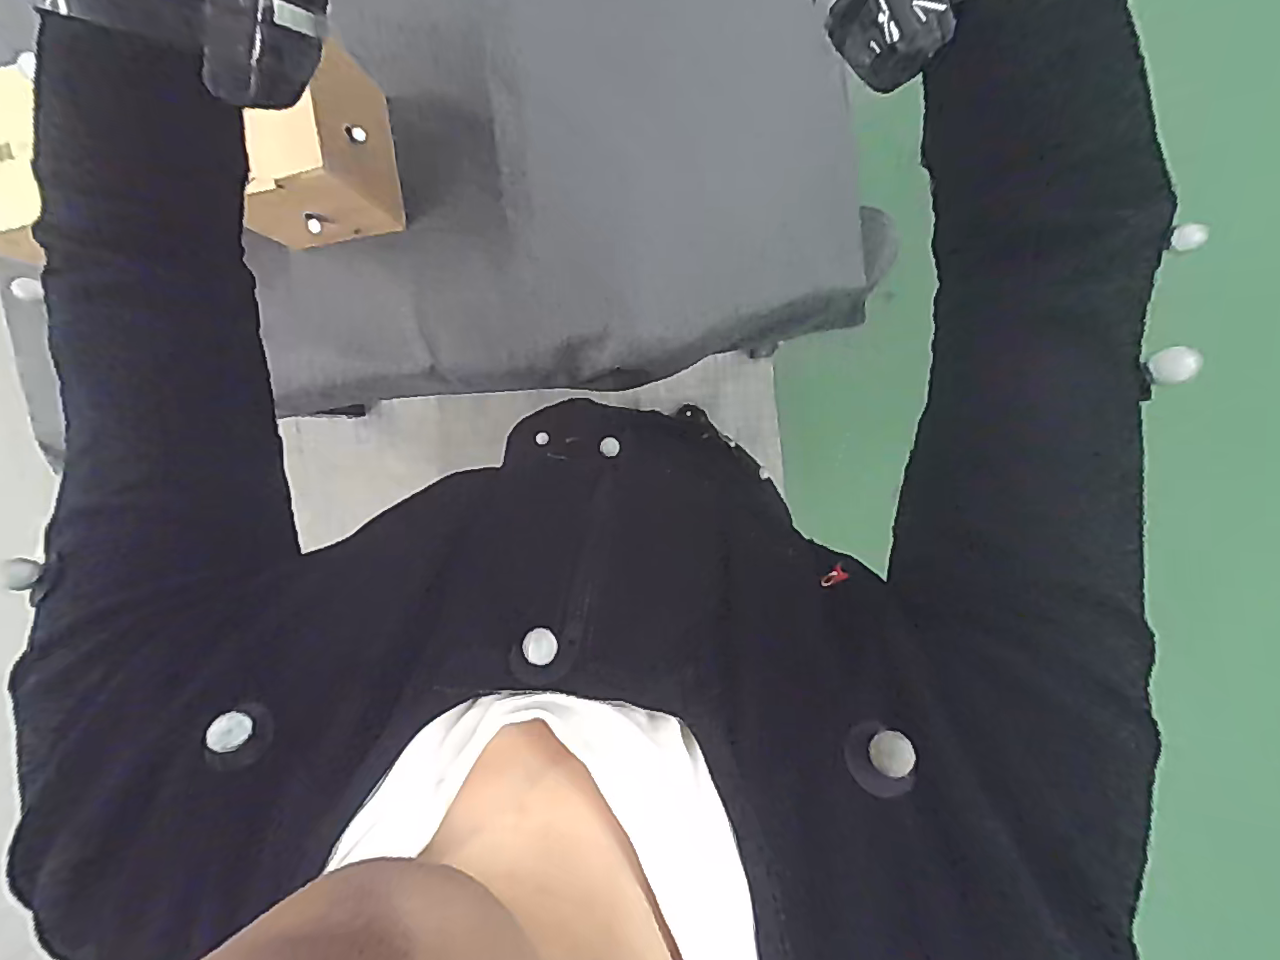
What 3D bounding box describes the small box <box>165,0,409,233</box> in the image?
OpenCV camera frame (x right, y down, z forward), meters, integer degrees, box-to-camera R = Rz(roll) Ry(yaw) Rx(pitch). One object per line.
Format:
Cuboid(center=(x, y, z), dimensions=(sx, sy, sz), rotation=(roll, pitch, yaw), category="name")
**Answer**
Cuboid(center=(-0.403, -0.415, 0.651), dimensions=(0.168, 0.176, 0.179), rotation=(-7, 96, 7), category="small box")
